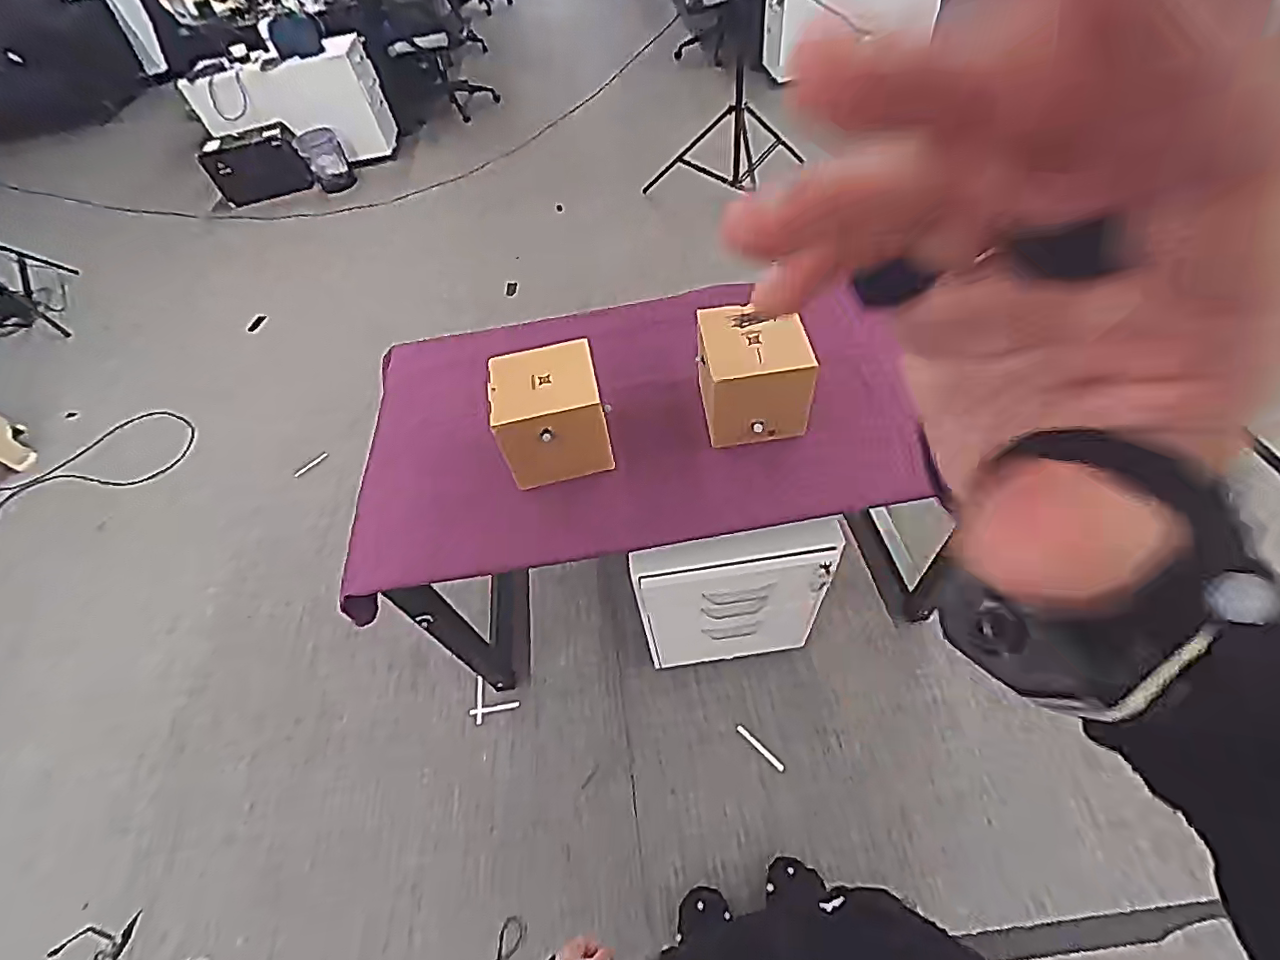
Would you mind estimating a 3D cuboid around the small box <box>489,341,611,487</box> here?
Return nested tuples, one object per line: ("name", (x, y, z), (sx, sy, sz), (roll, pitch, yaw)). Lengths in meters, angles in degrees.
("small box", (-0.152, -0.112, 0.946), (0.179, 0.176, 0.168), (-13, 53, -1))

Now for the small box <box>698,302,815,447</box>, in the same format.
("small box", (0.193, -0.182, 0.948), (0.168, 0.176, 0.179), (-8, 54, 3))
